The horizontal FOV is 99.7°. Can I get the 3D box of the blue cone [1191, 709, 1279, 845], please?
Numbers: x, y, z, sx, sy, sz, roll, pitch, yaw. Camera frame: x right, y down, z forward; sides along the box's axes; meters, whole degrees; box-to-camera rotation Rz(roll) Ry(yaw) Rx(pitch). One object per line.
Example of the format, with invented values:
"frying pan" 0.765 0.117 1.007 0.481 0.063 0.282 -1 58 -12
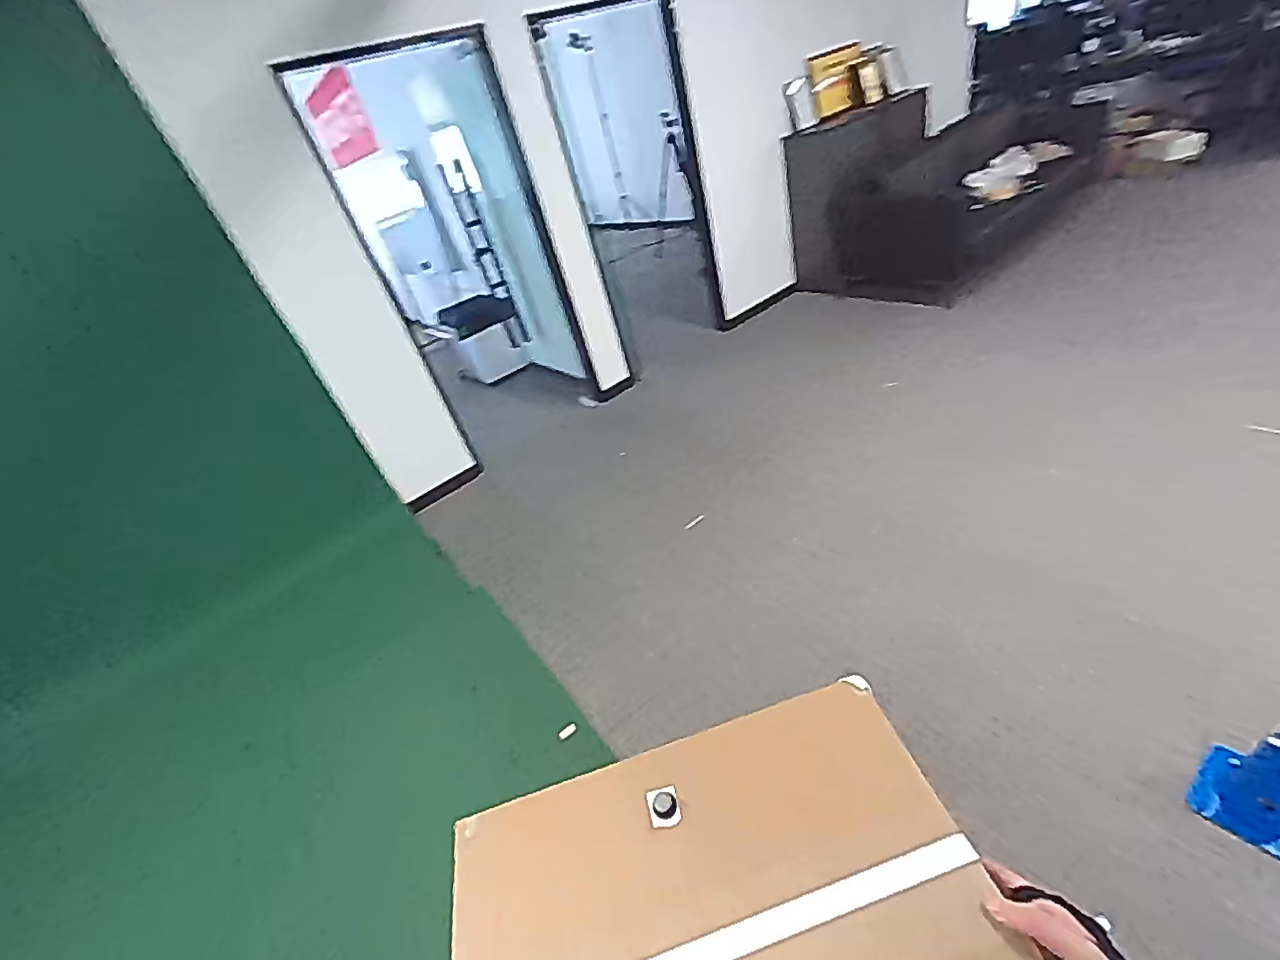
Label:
"blue cone" 1.294 0.548 1.086 0.192 0.380 0.193 -36 36 -26
